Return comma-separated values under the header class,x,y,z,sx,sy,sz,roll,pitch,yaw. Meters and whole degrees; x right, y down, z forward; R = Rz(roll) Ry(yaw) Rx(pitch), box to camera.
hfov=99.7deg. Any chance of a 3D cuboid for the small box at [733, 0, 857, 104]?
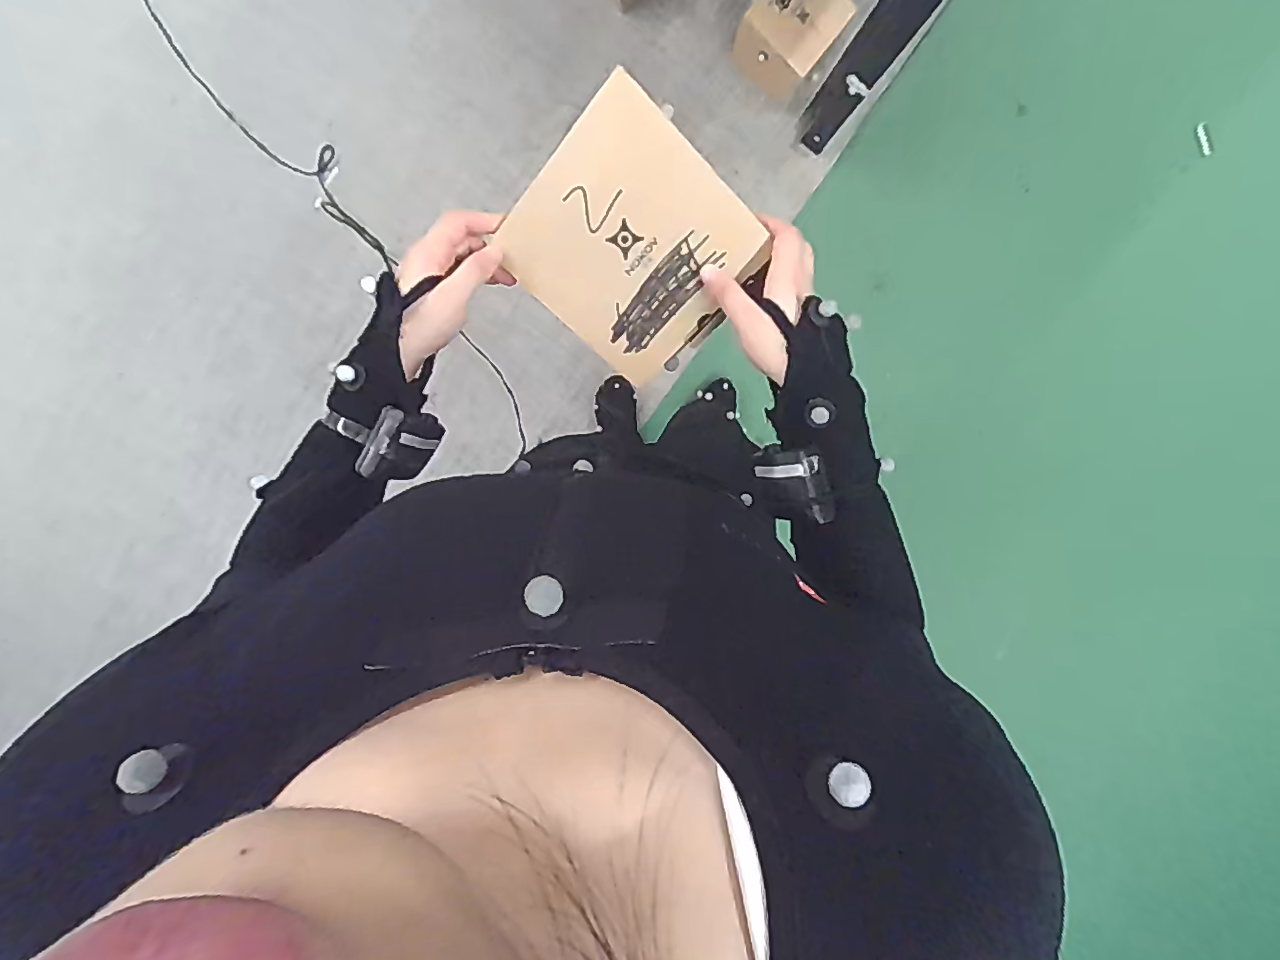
class,x,y,z,sx,sy,sz,roll,pitch,yaw
small box,0.325,-0.971,1.173,0.179,0.176,0.168,40,101,-8
